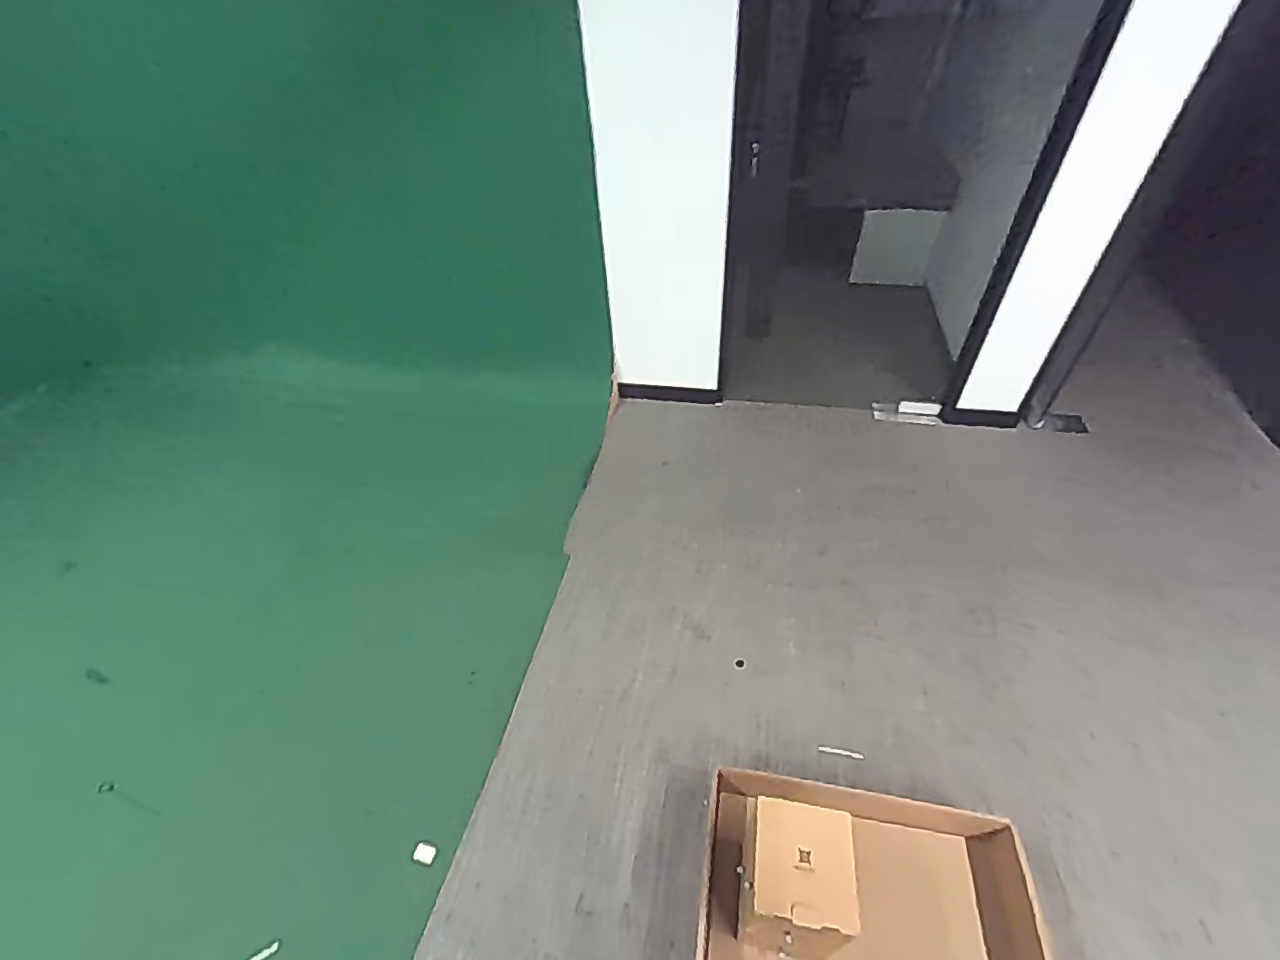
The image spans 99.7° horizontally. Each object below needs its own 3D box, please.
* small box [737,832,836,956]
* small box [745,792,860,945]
[{"bbox_3d":[0.288,0.813,1.081,0.168,0.176,0.179,7,45,11],"label":"small box"},{"bbox_3d":[0.282,0.695,0.968,0.168,0.176,0.179,6,45,9],"label":"small box"}]
